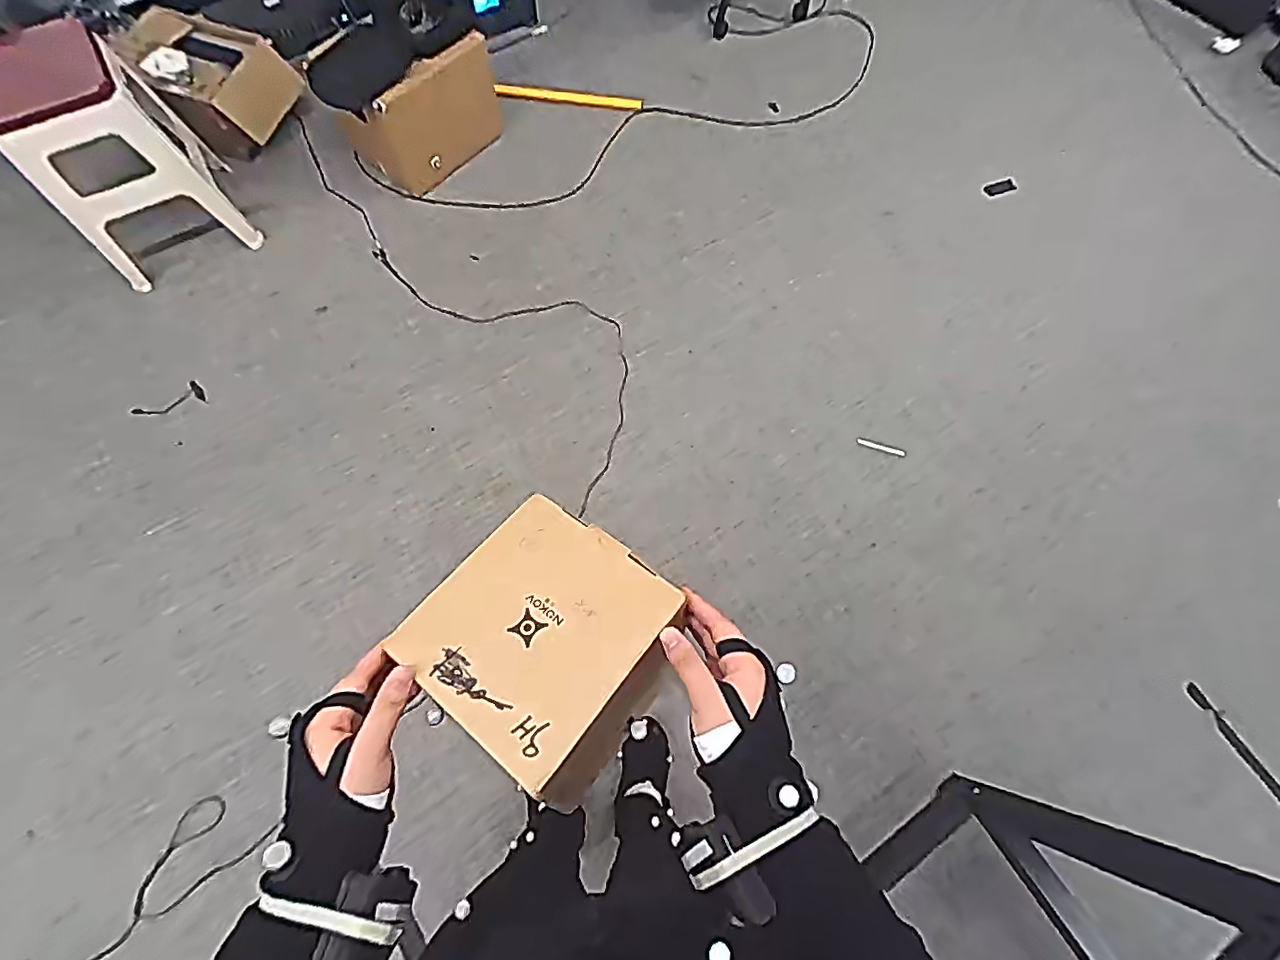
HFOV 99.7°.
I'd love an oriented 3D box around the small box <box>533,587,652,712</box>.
[{"bbox_3d":[-0.093,0.349,1.111,0.179,0.176,0.168,-37,77,-15],"label":"small box"}]
